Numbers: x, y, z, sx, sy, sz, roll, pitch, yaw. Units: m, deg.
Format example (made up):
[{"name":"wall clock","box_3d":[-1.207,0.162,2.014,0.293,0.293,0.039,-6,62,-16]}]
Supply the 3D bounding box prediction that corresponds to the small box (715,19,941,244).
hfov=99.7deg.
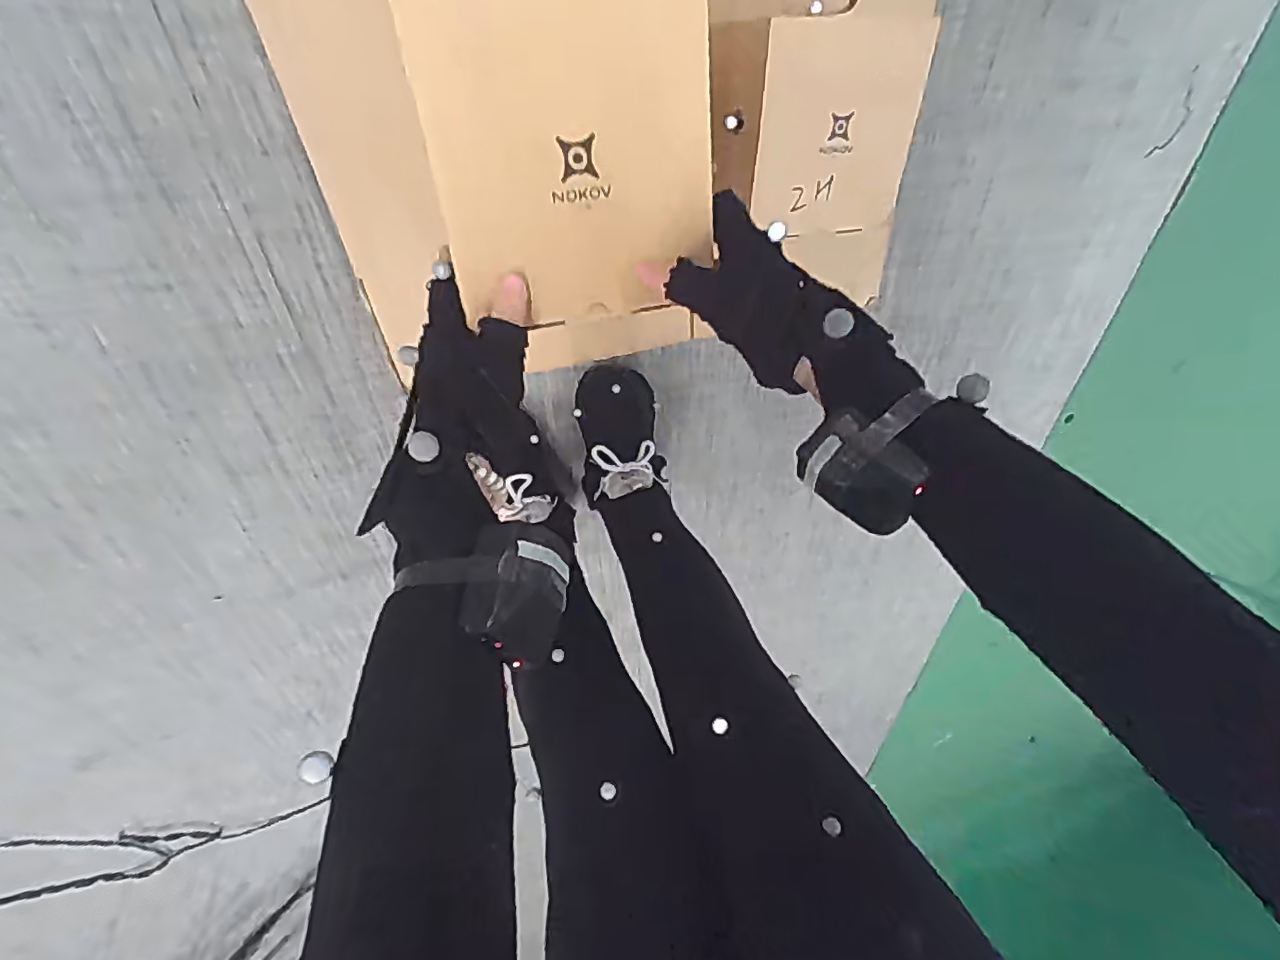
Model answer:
[{"name":"small box","box_3d":[0.167,-0.366,0.571,0.168,0.176,0.179,-9,130,-12]}]

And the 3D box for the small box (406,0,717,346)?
[{"name":"small box","box_3d":[-0.053,-0.215,0.385,0.168,0.176,0.179,-12,124,-10]}]
